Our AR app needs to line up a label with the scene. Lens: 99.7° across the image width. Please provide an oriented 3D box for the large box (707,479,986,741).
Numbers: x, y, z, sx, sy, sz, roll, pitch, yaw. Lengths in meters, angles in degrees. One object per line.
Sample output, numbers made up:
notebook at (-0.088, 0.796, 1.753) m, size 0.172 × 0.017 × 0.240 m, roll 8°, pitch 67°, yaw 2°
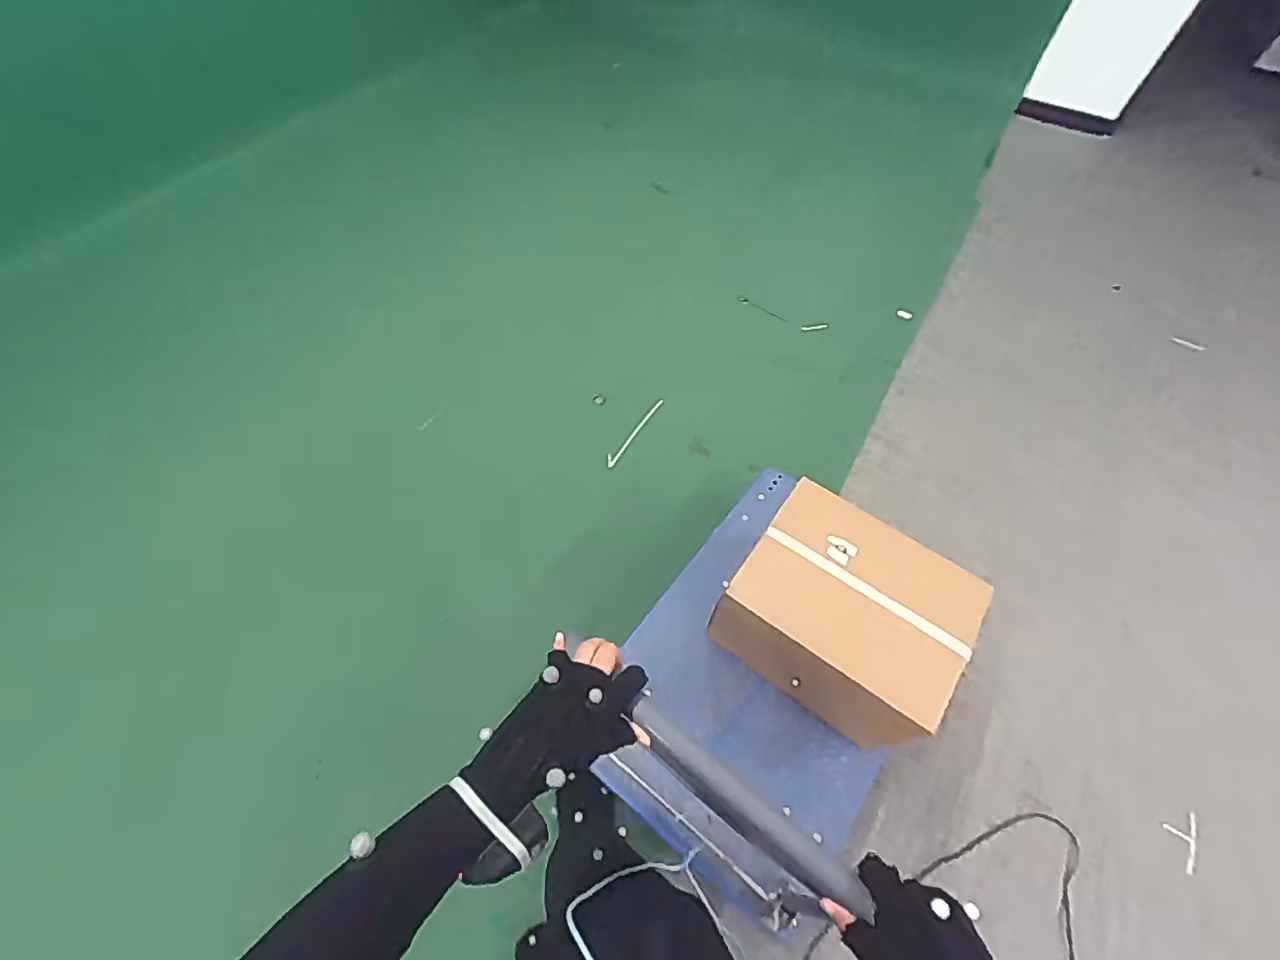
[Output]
large box at (0.397, 0.275, 1.126) m, size 0.408 × 0.320 × 0.320 m, roll 33°, pitch 64°, yaw 19°
